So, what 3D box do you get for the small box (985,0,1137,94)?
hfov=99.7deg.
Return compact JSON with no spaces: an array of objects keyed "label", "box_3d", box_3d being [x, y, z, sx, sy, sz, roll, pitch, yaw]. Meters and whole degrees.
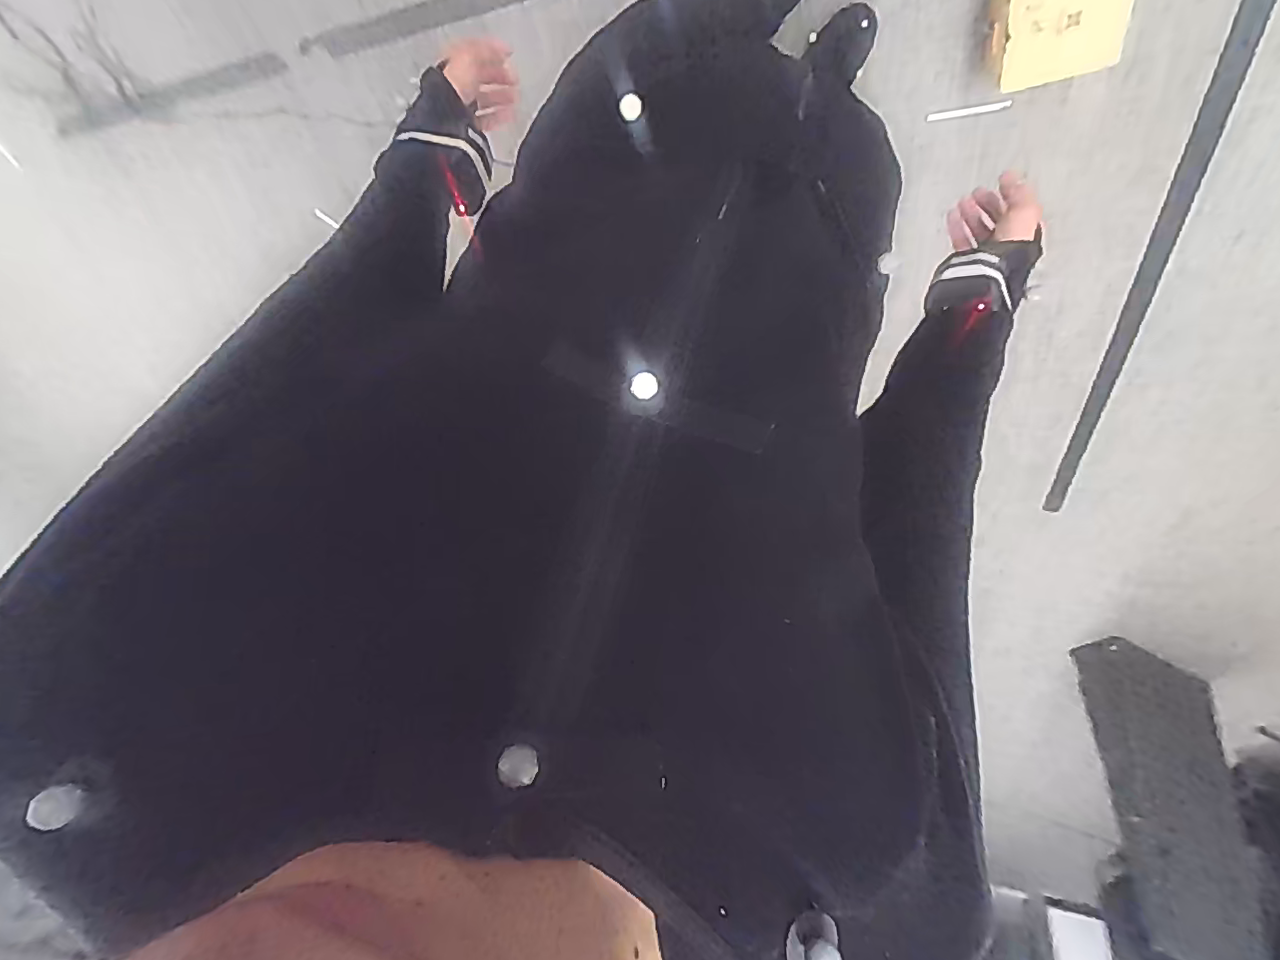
[{"label":"small box","box_3d":[0.717,-0.803,0.928,0.179,0.176,0.168,-1,135,23]}]
